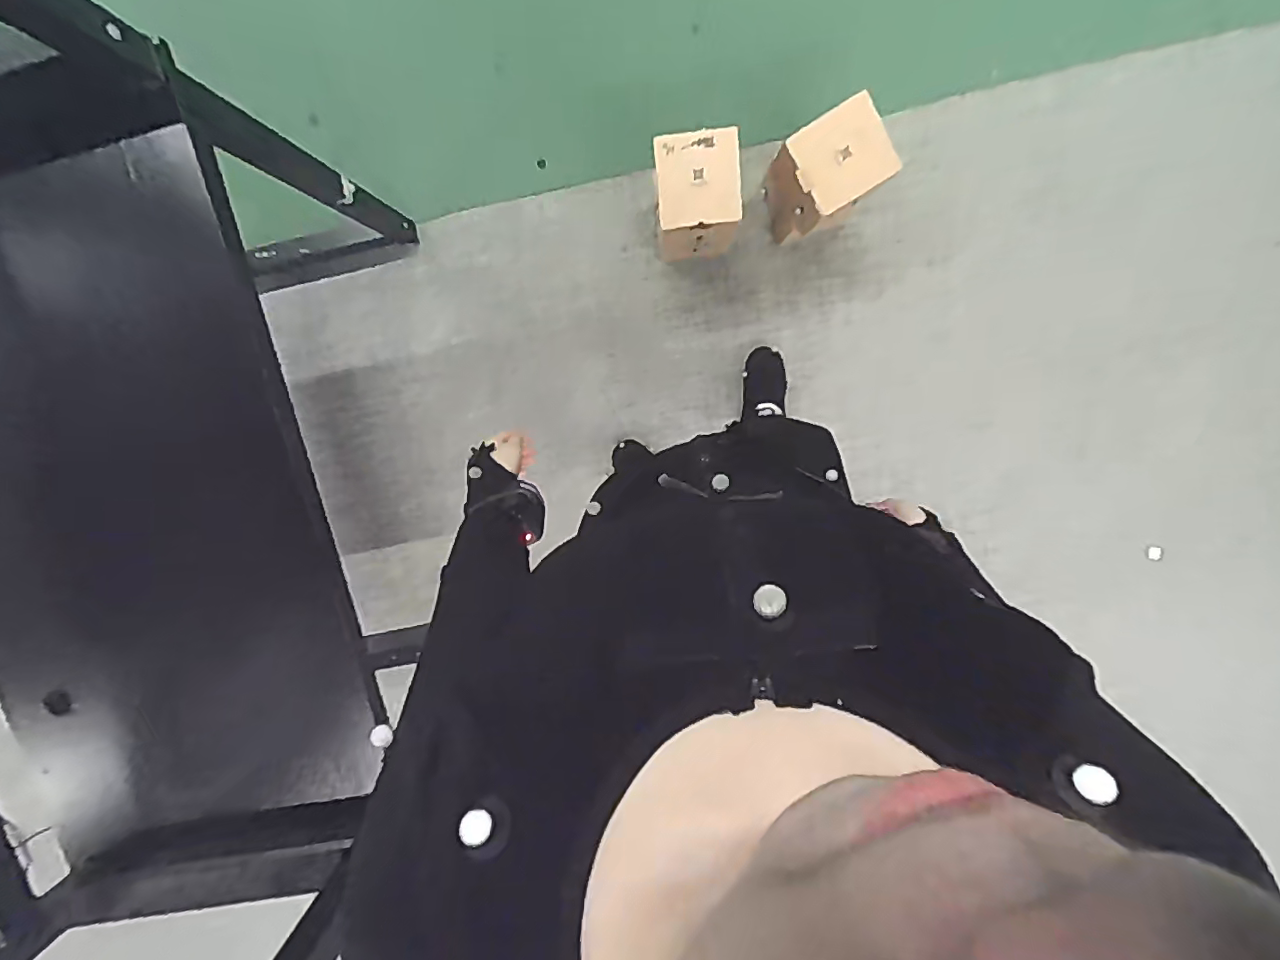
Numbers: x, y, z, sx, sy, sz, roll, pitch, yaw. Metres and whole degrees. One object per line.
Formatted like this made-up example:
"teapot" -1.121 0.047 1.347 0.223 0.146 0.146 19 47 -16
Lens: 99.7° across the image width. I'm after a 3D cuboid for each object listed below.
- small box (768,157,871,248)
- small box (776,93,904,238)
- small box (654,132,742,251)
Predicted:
"small box" 0.409 -0.669 1.269 0.179 0.176 0.168 -18 99 5
"small box" 0.396 -0.630 1.111 0.179 0.176 0.168 -31 99 7
"small box" 0.121 -0.589 1.131 0.168 0.176 0.179 -4 100 4
